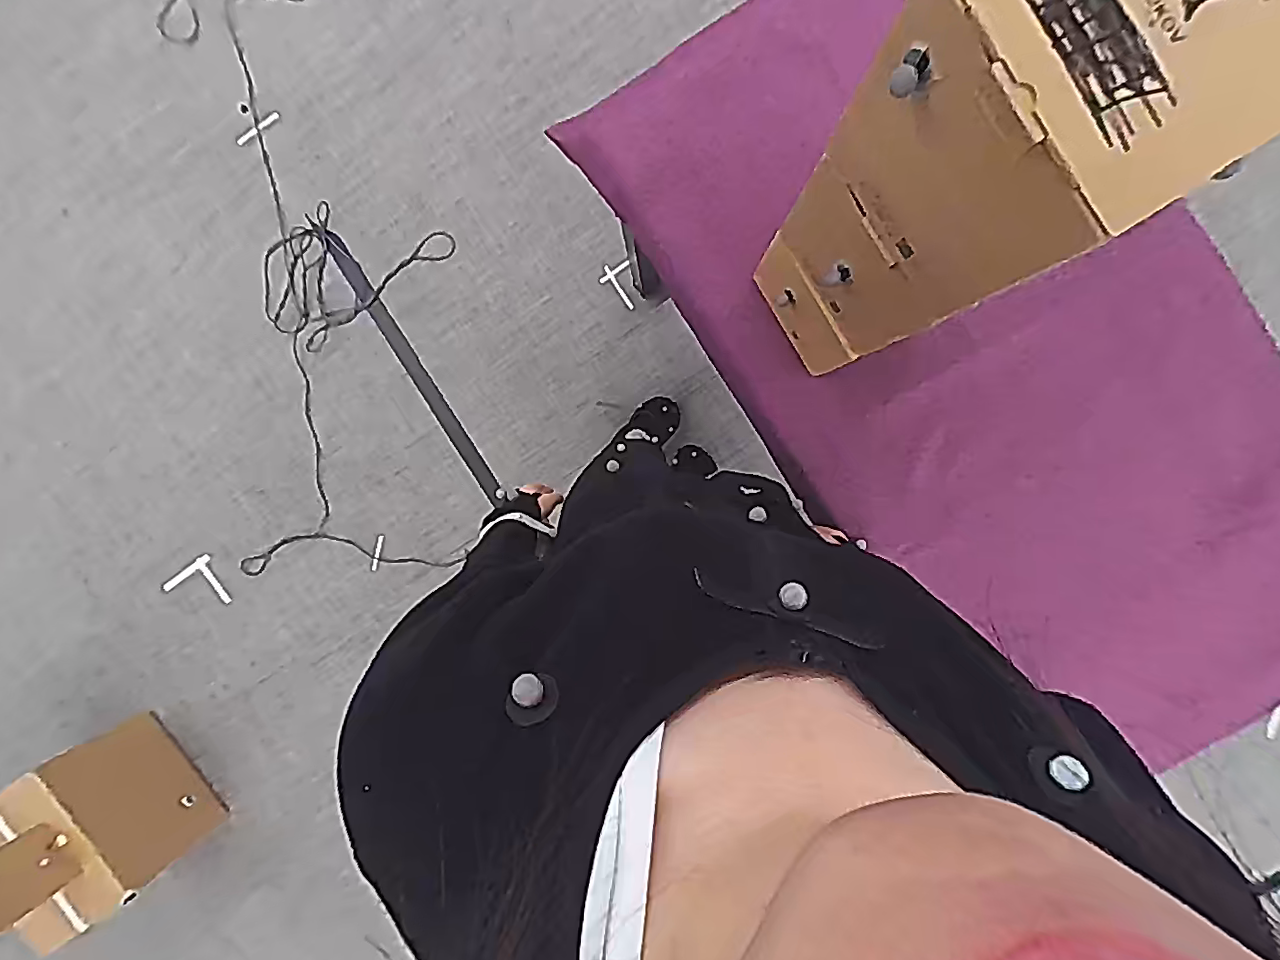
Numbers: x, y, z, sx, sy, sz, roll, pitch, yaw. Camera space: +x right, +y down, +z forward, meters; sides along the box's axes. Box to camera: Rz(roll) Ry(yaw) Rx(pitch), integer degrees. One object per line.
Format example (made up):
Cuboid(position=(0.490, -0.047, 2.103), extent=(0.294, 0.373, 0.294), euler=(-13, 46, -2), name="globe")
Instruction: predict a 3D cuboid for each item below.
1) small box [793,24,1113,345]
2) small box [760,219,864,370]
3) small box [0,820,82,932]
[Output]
Cuboid(position=(0.265, -0.250, 0.512), extent=(0.179, 0.176, 0.168), euler=(-34, 93, 4), name="small box")
Cuboid(position=(0.266, -0.256, 0.676), extent=(0.179, 0.176, 0.168), euler=(-32, 92, 3), name="small box")
Cuboid(position=(-1.495, 0.955, 1.266), extent=(0.179, 0.176, 0.168), euler=(-36, 92, 4), name="small box")
